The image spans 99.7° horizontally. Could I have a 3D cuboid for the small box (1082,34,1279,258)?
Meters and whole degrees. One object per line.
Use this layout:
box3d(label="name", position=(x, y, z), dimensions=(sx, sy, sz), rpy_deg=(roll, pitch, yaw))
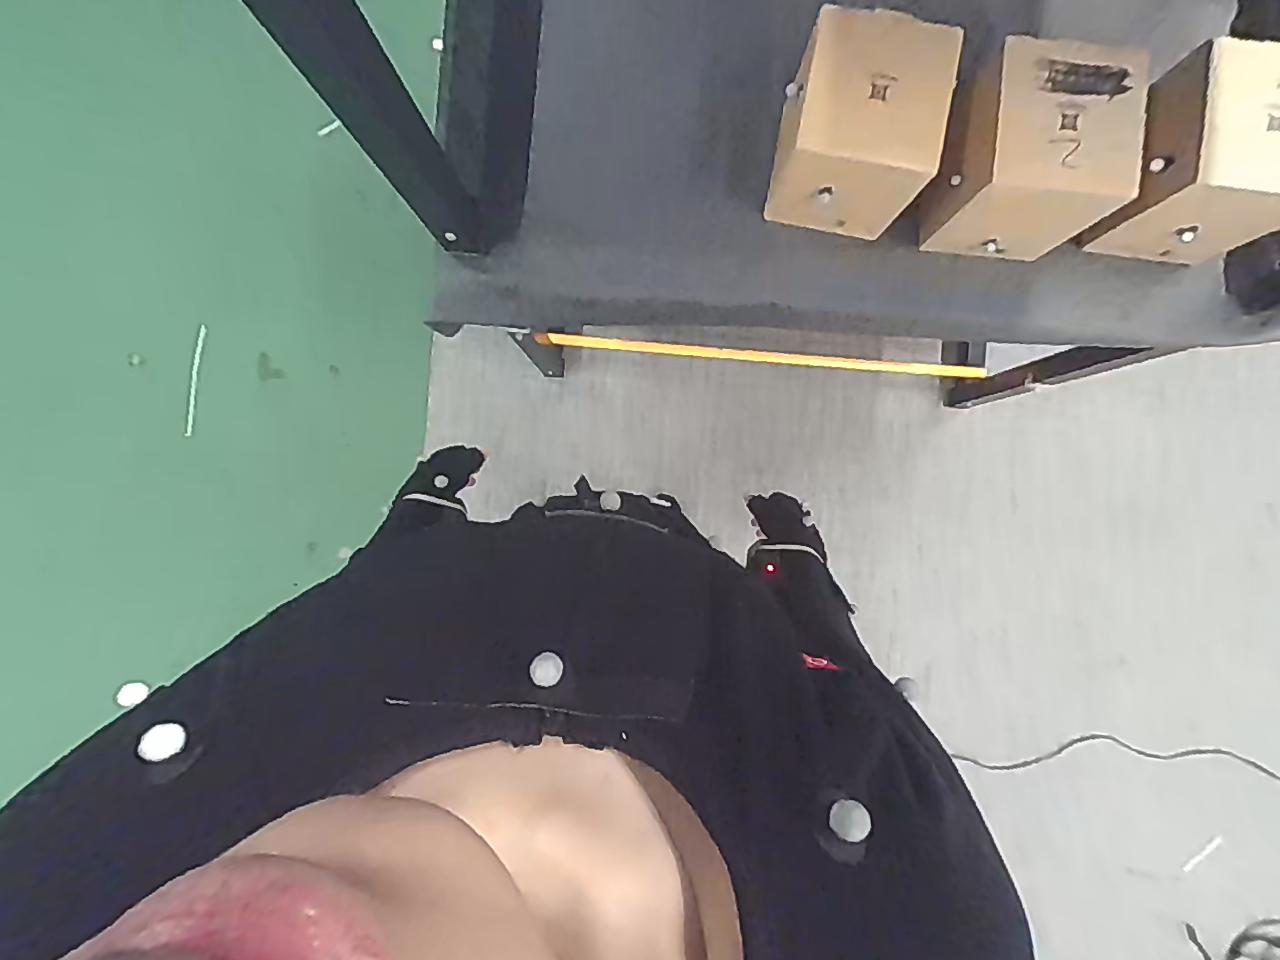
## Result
box3d(label="small box", position=(0.714, -0.407, 0.689), dimensions=(0.168, 0.176, 0.179), rpy_deg=(8, 88, 0))

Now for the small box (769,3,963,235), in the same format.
box3d(label="small box", position=(0.274, -0.446, 0.697), dimensions=(0.168, 0.176, 0.179), rpy_deg=(11, 88, 1))
